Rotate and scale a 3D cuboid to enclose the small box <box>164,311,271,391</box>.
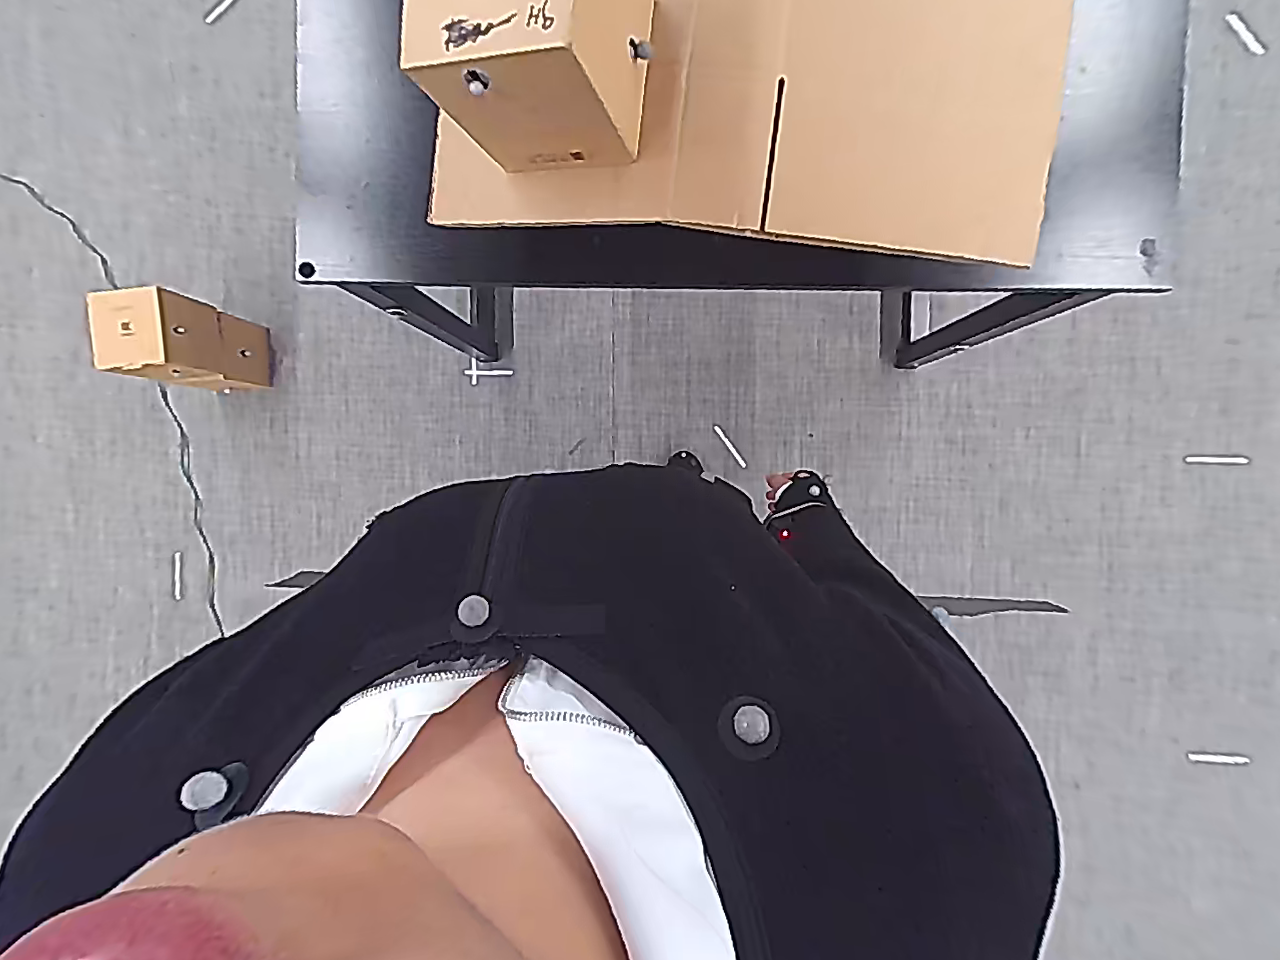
[{"bbox_3d":[-1.131,-0.341,1.454,0.168,0.176,0.179,-2,92,3],"label":"small box"}]

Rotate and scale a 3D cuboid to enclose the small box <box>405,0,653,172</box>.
[{"bbox_3d":[-0.093,-0.432,0.521,0.168,0.176,0.179,7,91,18],"label":"small box"}]

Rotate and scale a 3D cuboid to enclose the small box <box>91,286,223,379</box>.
[{"bbox_3d":[-1.140,-0.342,1.291,0.168,0.176,0.179,-5,90,2],"label":"small box"}]
